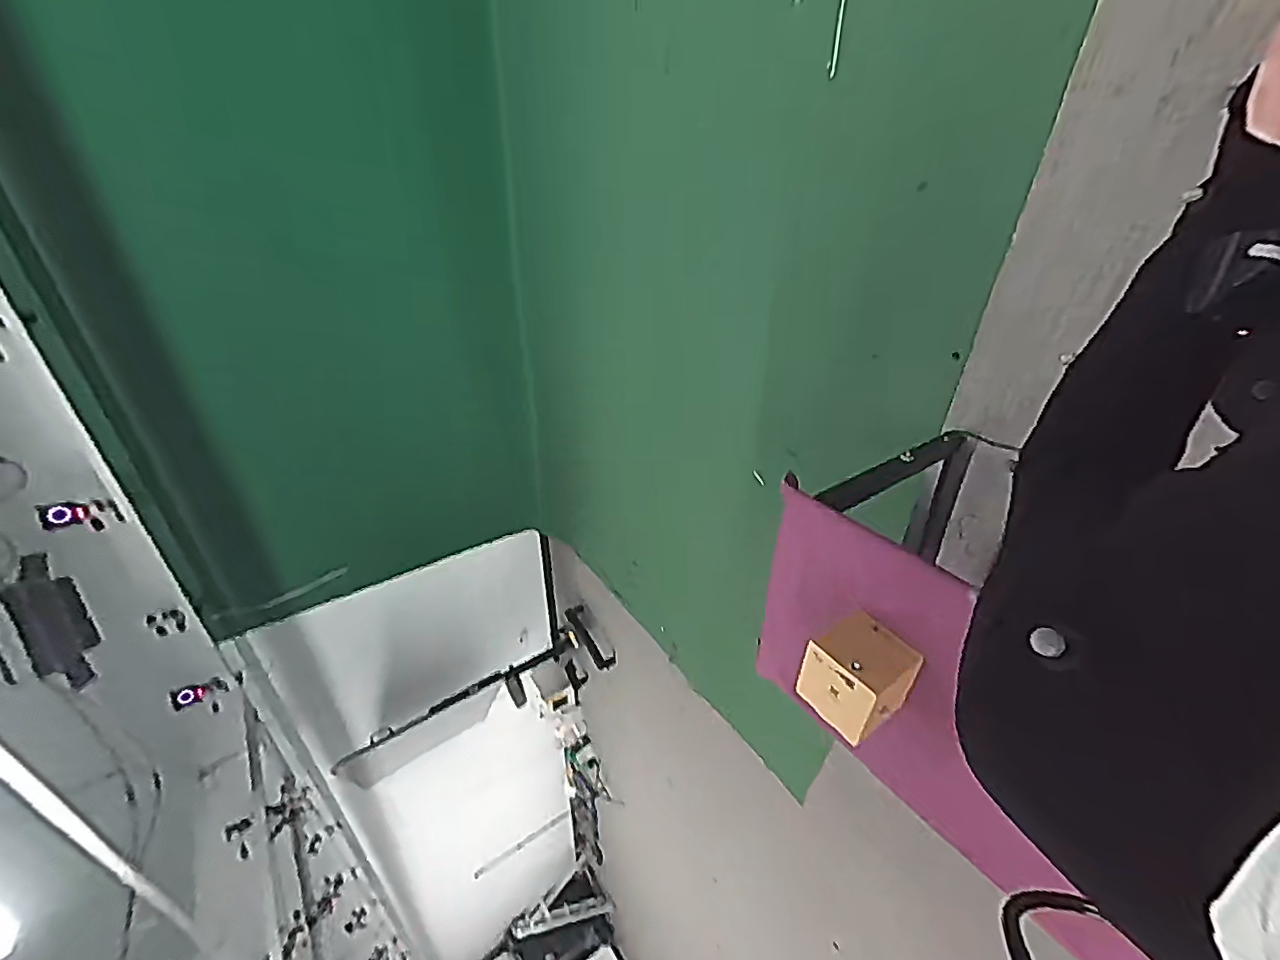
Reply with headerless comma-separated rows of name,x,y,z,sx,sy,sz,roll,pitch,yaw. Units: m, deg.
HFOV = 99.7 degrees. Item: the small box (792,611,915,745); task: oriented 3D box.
small box,0.460,0.422,1.170,0.168,0.176,0.179,37,137,41
